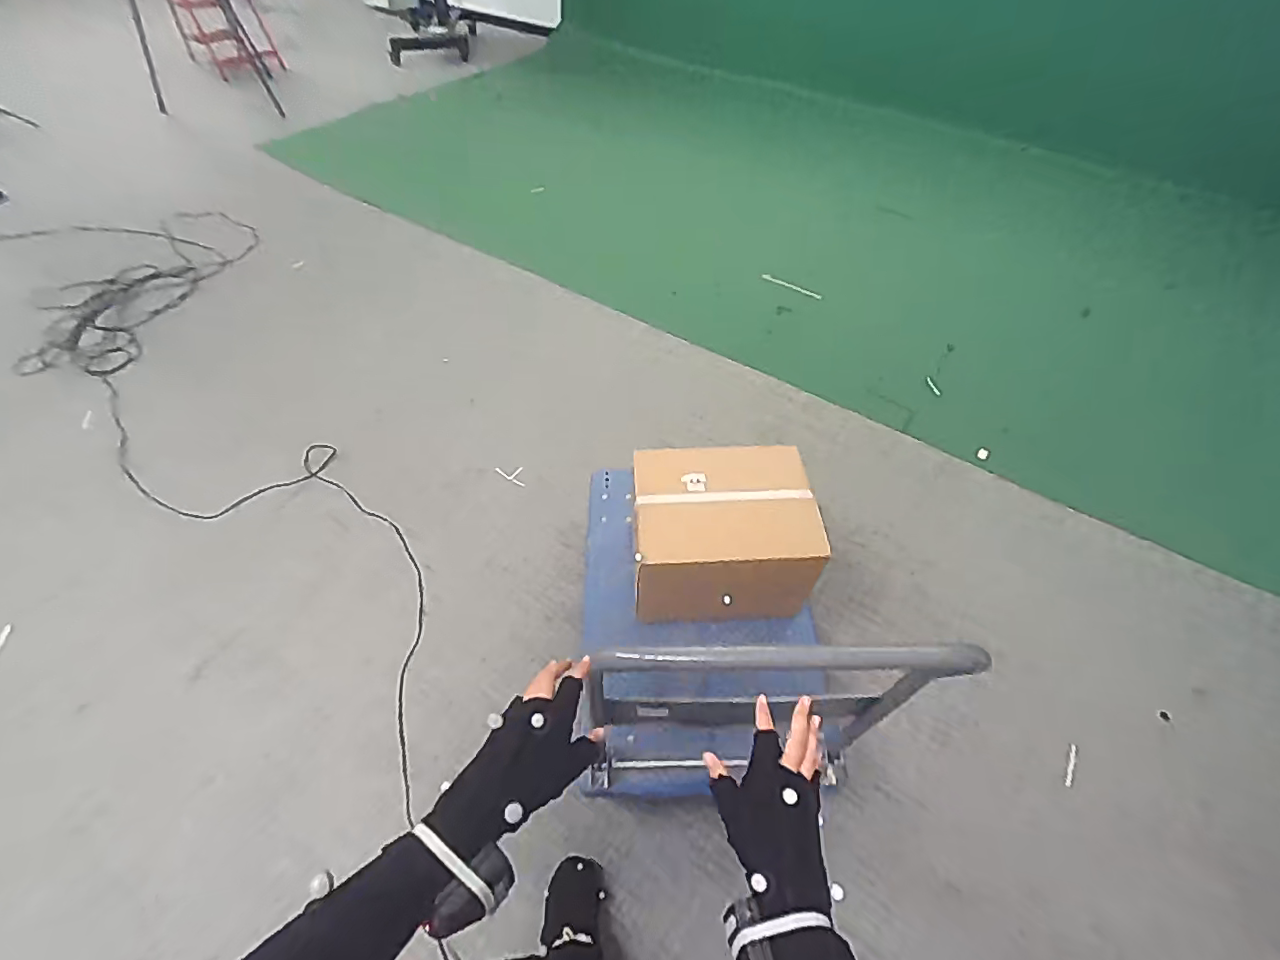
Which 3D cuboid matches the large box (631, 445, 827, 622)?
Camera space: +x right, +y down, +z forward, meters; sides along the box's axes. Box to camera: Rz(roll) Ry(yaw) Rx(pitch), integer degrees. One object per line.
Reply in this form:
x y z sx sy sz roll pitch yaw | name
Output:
0.190 0.138 1.342 0.408 0.320 0.320 -3 52 -3 | large box
